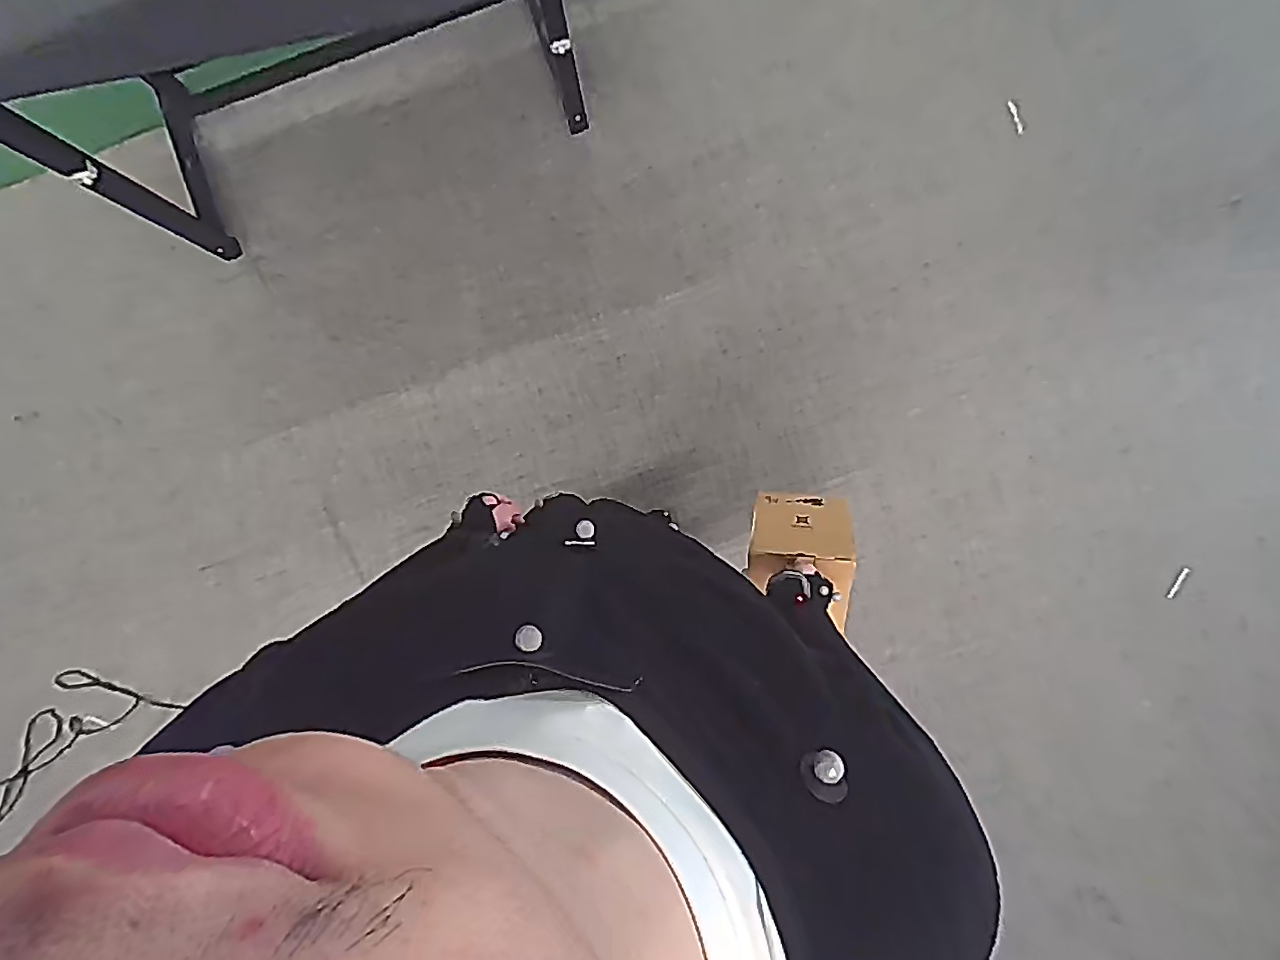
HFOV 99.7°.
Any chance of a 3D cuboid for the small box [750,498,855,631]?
[{"bbox_3d":[0.288,0.150,0.973,0.168,0.179,0.176,1,123,14],"label":"small box"}]
